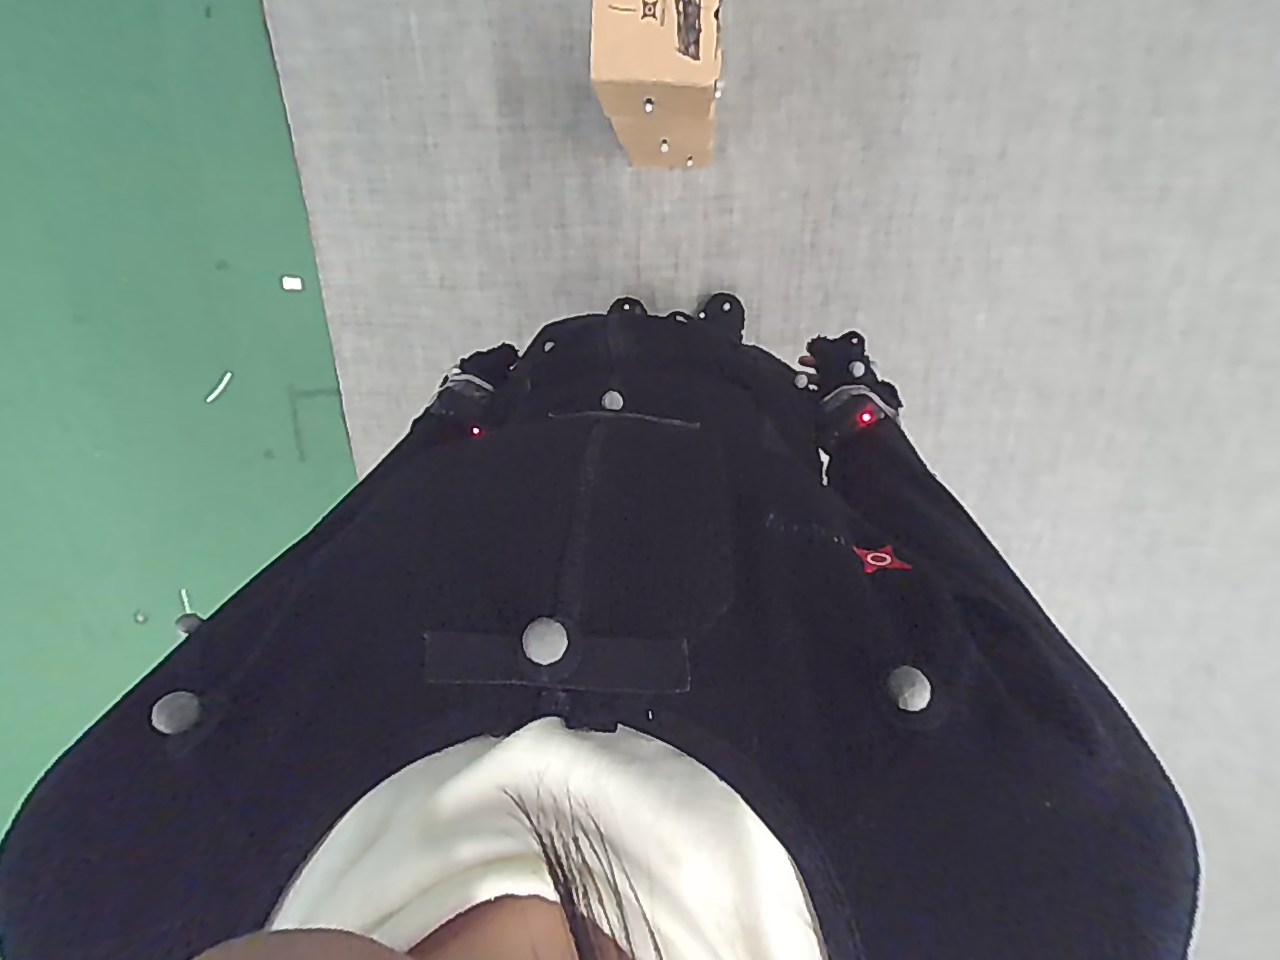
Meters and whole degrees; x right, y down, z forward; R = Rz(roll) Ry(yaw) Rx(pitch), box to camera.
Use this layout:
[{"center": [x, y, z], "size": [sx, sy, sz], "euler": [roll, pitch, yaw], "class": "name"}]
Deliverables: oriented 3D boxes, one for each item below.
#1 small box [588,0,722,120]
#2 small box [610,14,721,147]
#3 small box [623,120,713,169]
[{"center": [0.027, -0.657, 0.804], "size": [0.179, 0.176, 0.168], "euler": [7, 109, 4], "class": "small box"}, {"center": [0.044, -0.707, 0.960], "size": [0.179, 0.176, 0.168], "euler": [4, 109, 3], "class": "small box"}, {"center": [0.060, -0.756, 1.116], "size": [0.179, 0.176, 0.168], "euler": [2, 108, 5], "class": "small box"}]
